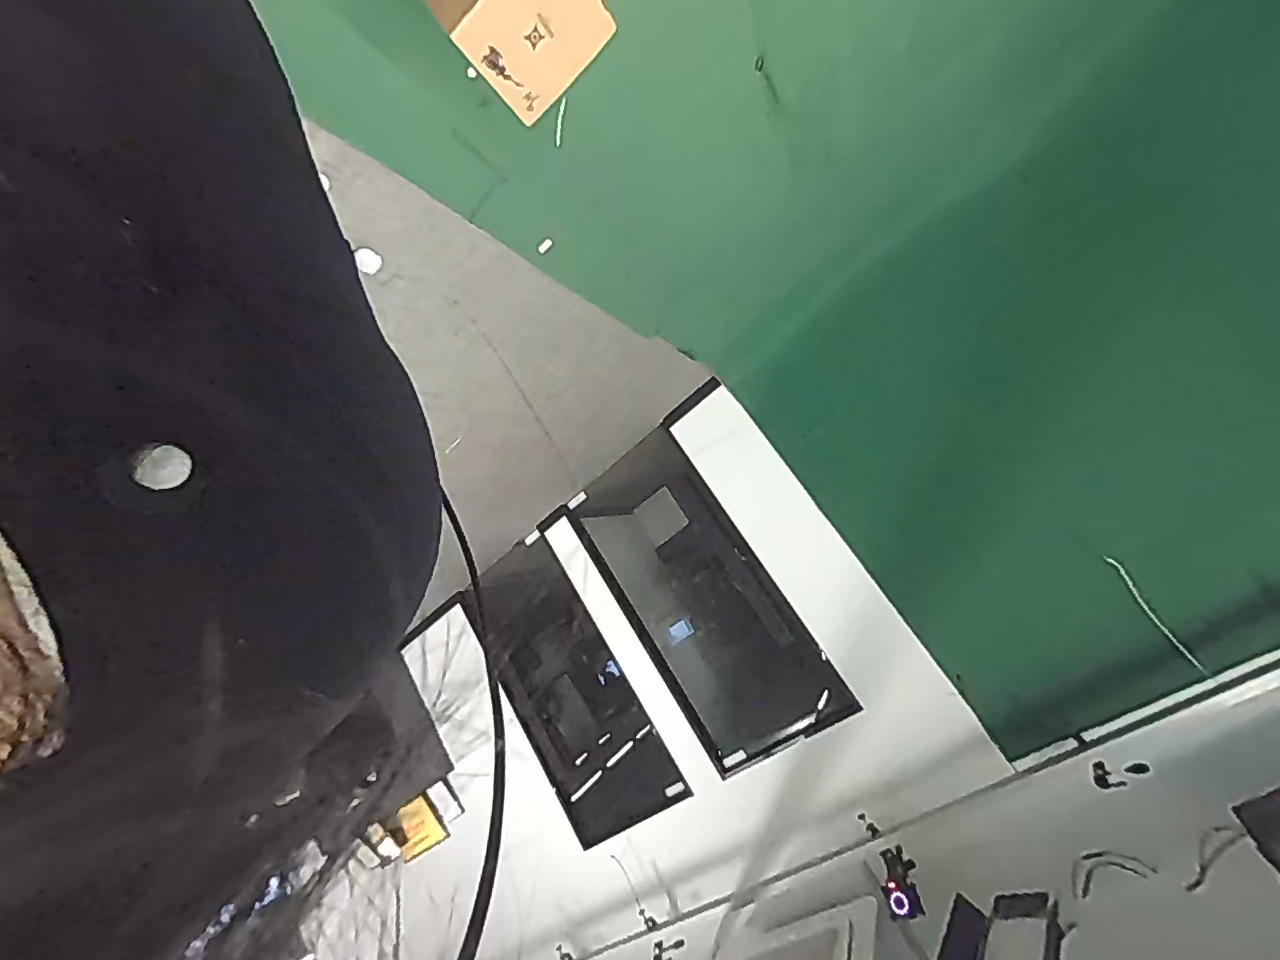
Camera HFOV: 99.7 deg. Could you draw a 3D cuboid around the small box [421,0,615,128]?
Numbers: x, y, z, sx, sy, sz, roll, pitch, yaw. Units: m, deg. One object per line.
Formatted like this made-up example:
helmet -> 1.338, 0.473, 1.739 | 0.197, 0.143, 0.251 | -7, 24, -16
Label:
small box -> -0.169, -0.626, 0.701 | 0.179, 0.176, 0.168 | -38, 165, 16
